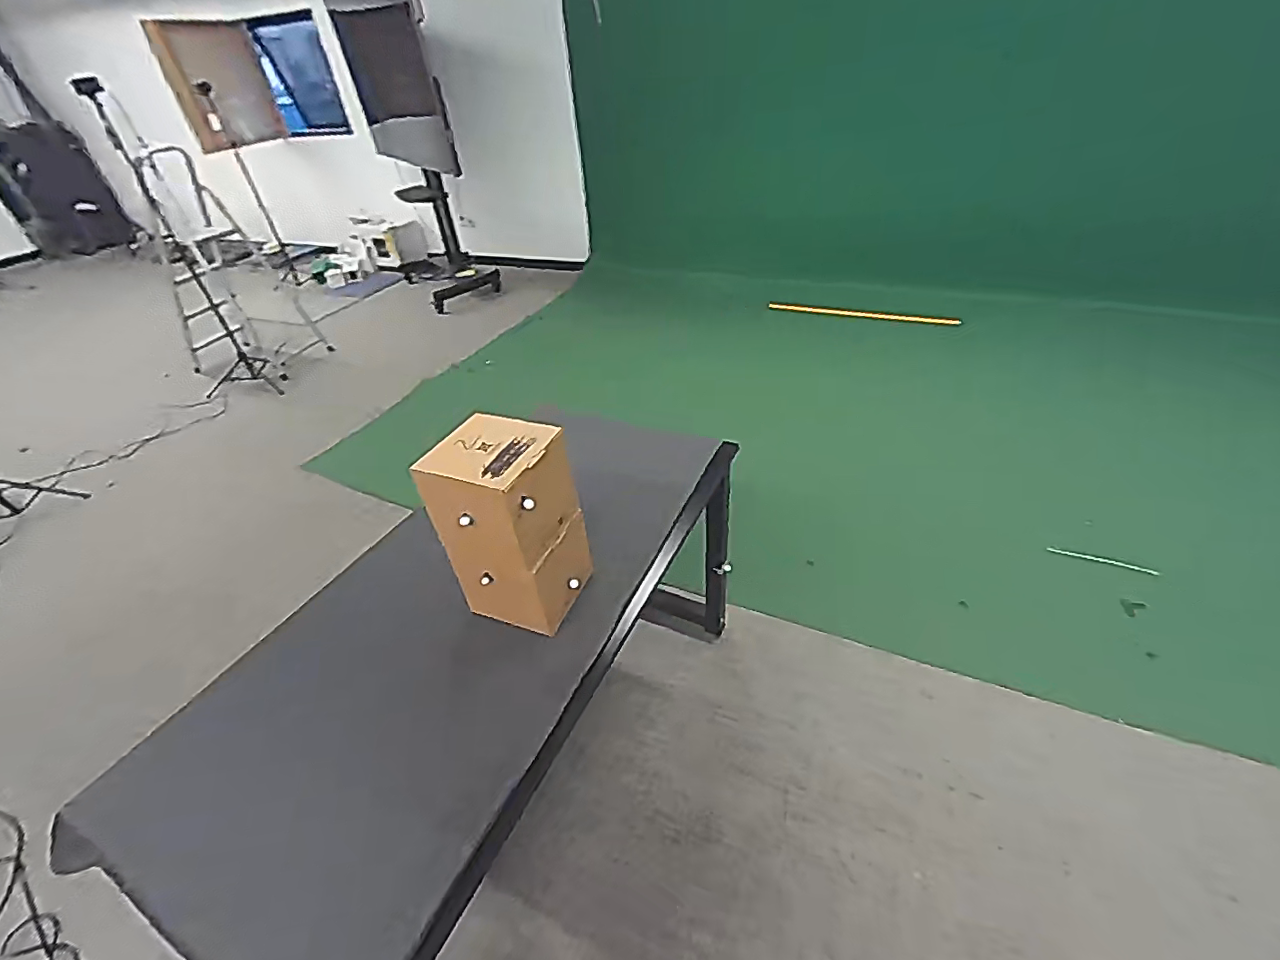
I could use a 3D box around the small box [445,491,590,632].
[{"bbox_3d":[-0.207,0.145,0.967,0.179,0.176,0.168,10,41,20],"label":"small box"}]
